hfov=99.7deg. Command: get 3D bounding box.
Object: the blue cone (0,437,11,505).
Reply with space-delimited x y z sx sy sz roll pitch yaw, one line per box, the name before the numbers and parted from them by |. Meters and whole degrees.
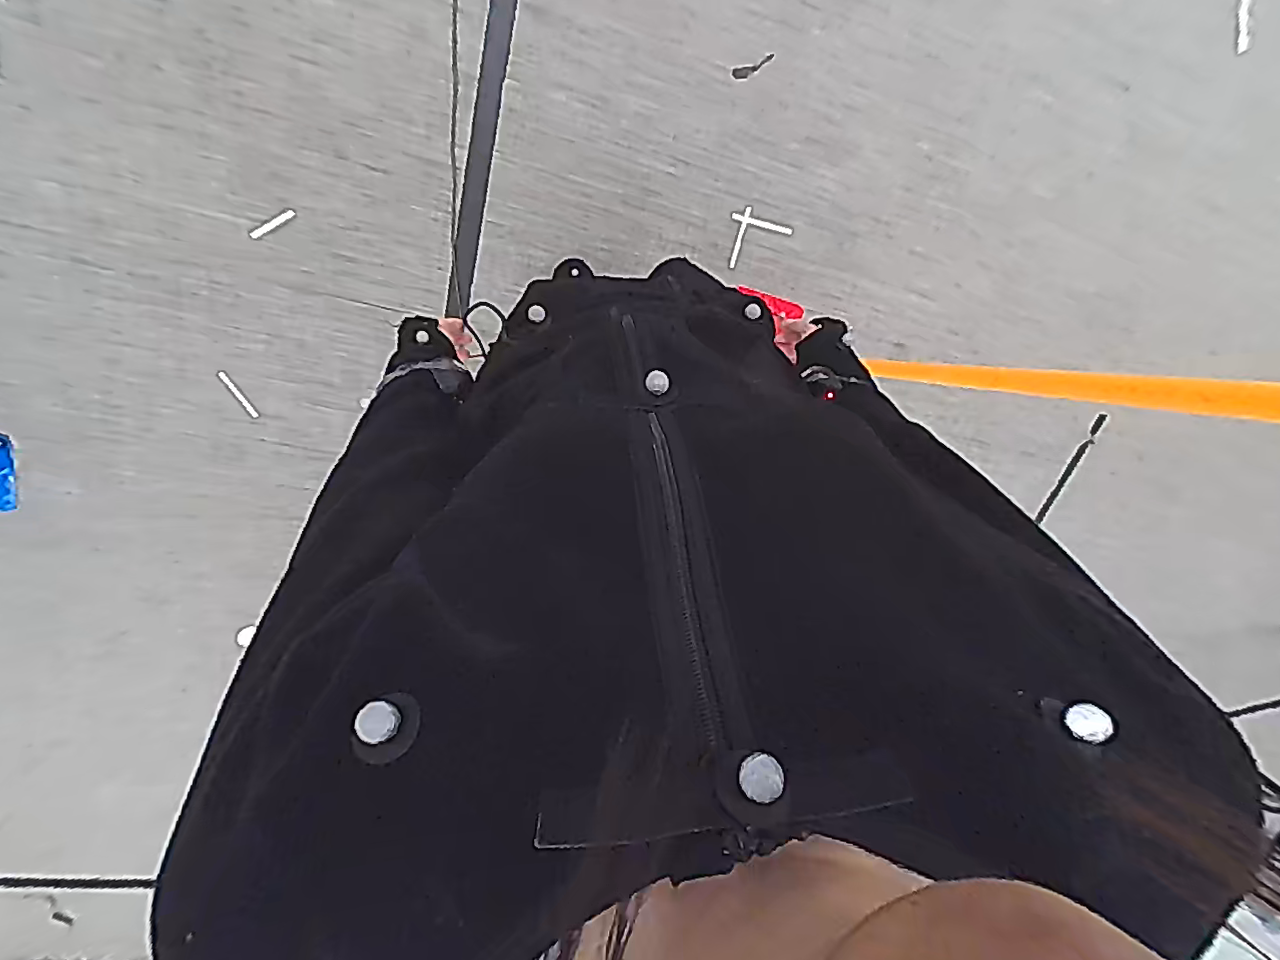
blue cone | -1.520 0.029 1.076 0.193 0.380 0.192 14 110 -15
